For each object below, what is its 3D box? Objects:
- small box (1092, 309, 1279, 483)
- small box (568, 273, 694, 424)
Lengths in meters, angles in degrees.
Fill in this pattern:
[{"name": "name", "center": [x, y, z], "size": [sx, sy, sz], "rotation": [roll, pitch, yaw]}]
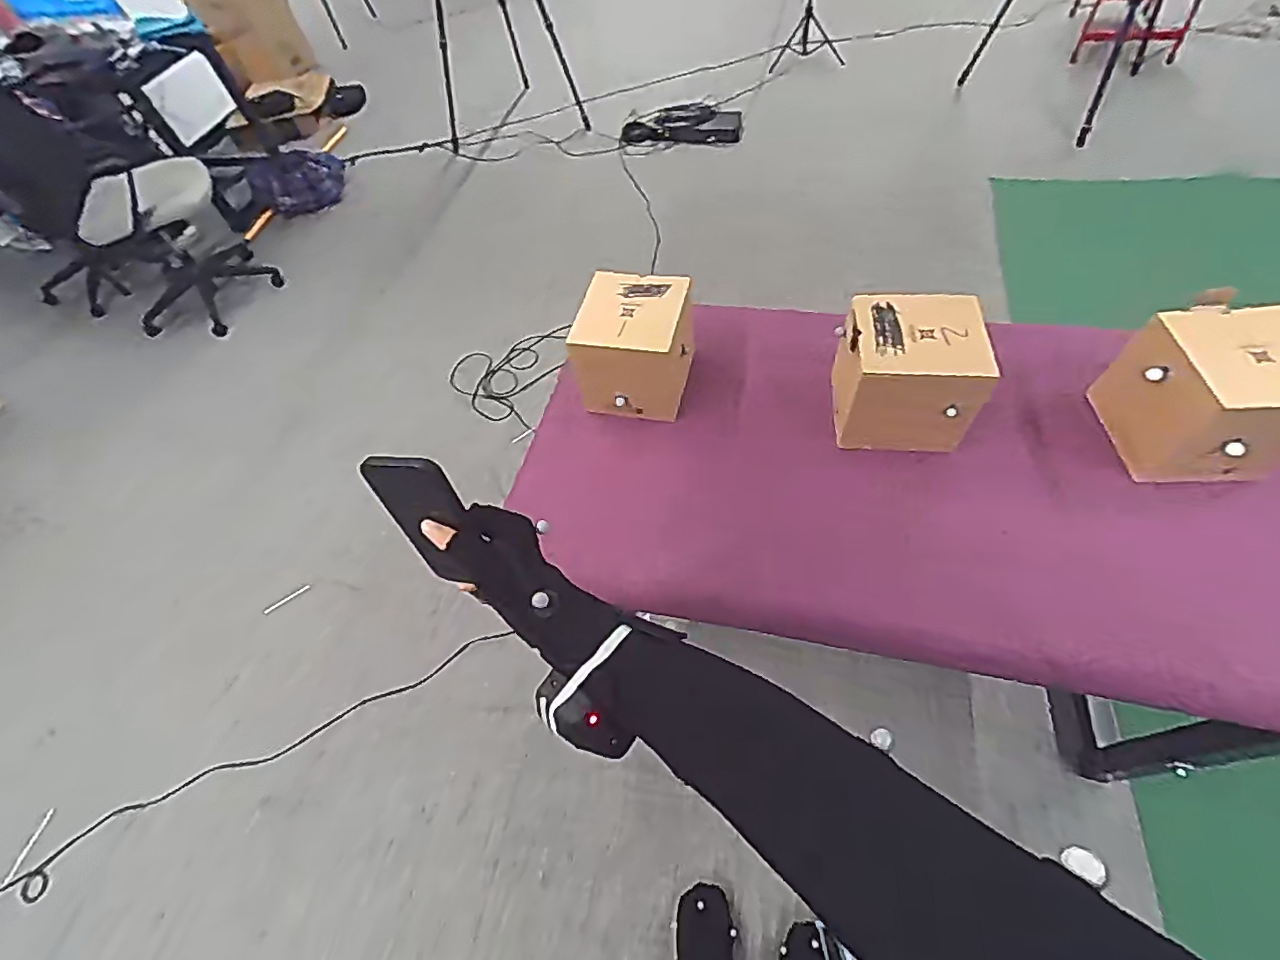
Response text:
[{"name": "small box", "center": [0.781, -0.106, 0.739], "size": [0.168, 0.176, 0.179], "rotation": [-1, 55, 7]}, {"name": "small box", "center": [-0.005, -0.222, 0.920], "size": [0.168, 0.176, 0.179], "rotation": [9, 59, 13]}]
